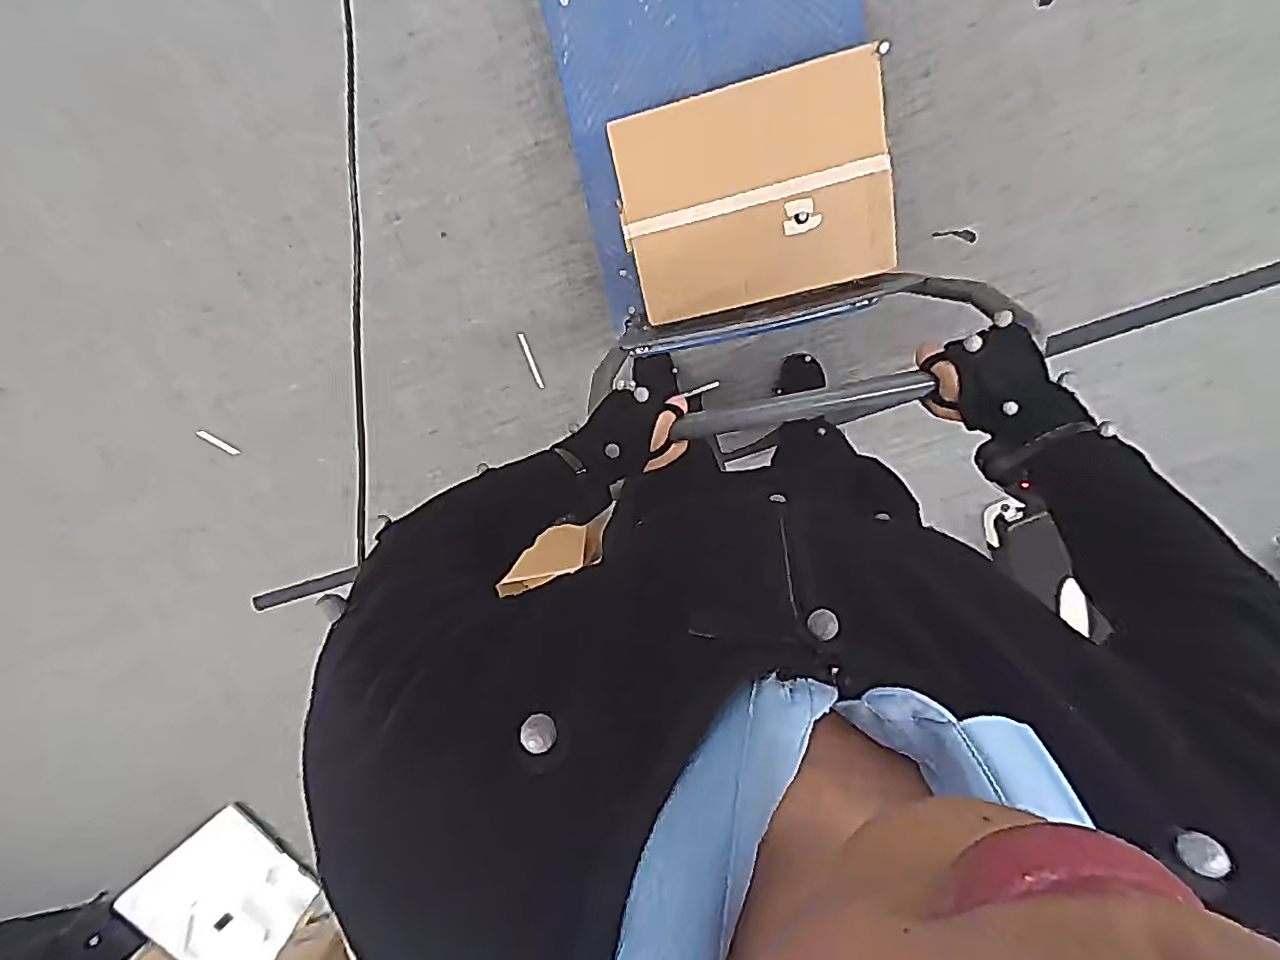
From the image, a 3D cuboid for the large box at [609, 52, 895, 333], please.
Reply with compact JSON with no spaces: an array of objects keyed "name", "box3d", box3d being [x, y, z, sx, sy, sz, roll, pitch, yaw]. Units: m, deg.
[{"name":"large box","box3d":[0.190,-0.476,0.986,0.408,0.320,0.320,-11,108,9]}]
